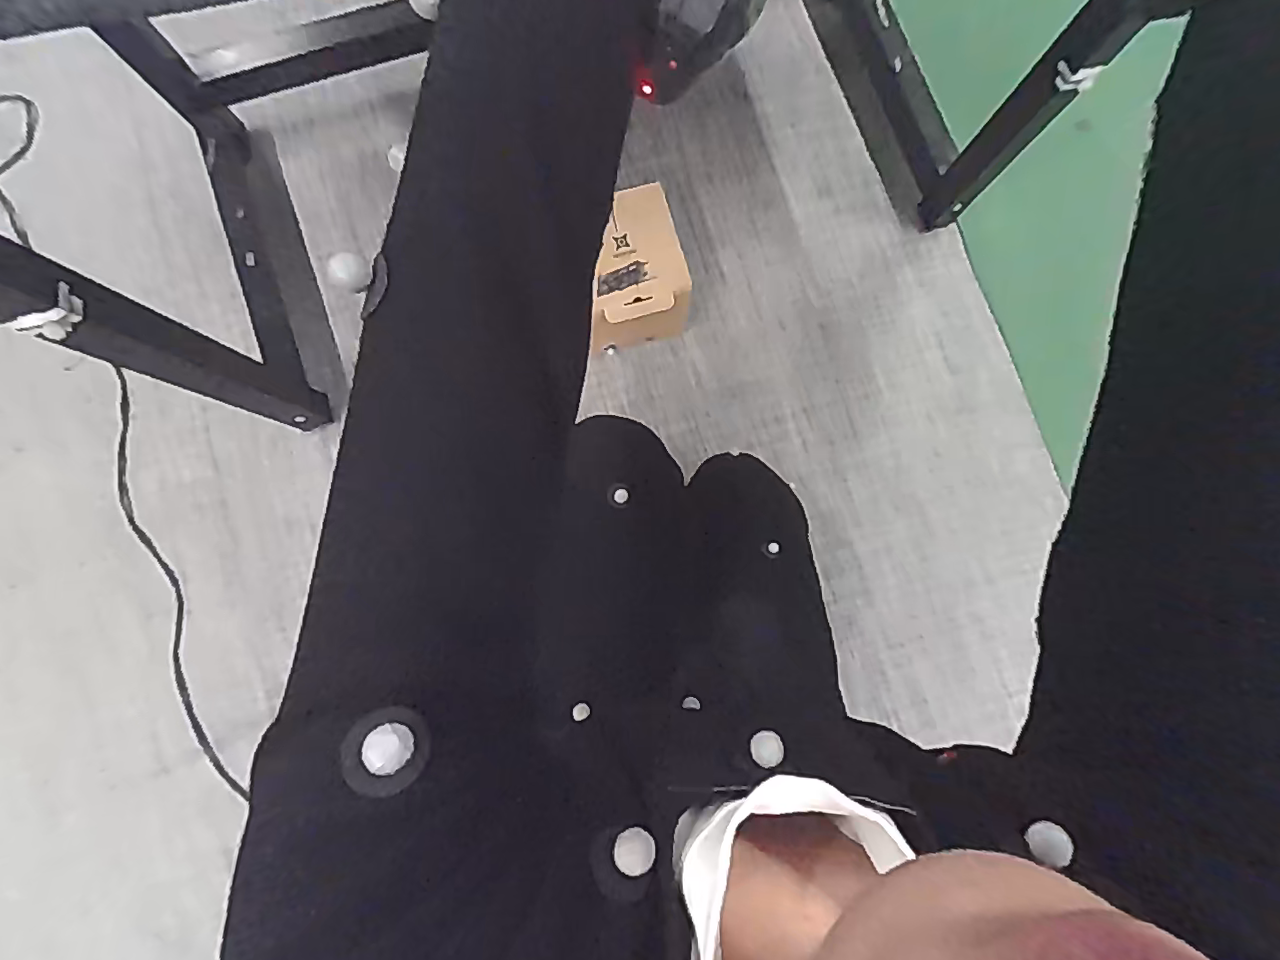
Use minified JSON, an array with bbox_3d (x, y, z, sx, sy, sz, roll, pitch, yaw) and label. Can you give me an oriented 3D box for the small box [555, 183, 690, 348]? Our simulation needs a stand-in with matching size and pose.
[{"bbox_3d":[-0.025,-0.327,0.865,0.168,0.176,0.179,-15,82,-2],"label":"small box"}]
